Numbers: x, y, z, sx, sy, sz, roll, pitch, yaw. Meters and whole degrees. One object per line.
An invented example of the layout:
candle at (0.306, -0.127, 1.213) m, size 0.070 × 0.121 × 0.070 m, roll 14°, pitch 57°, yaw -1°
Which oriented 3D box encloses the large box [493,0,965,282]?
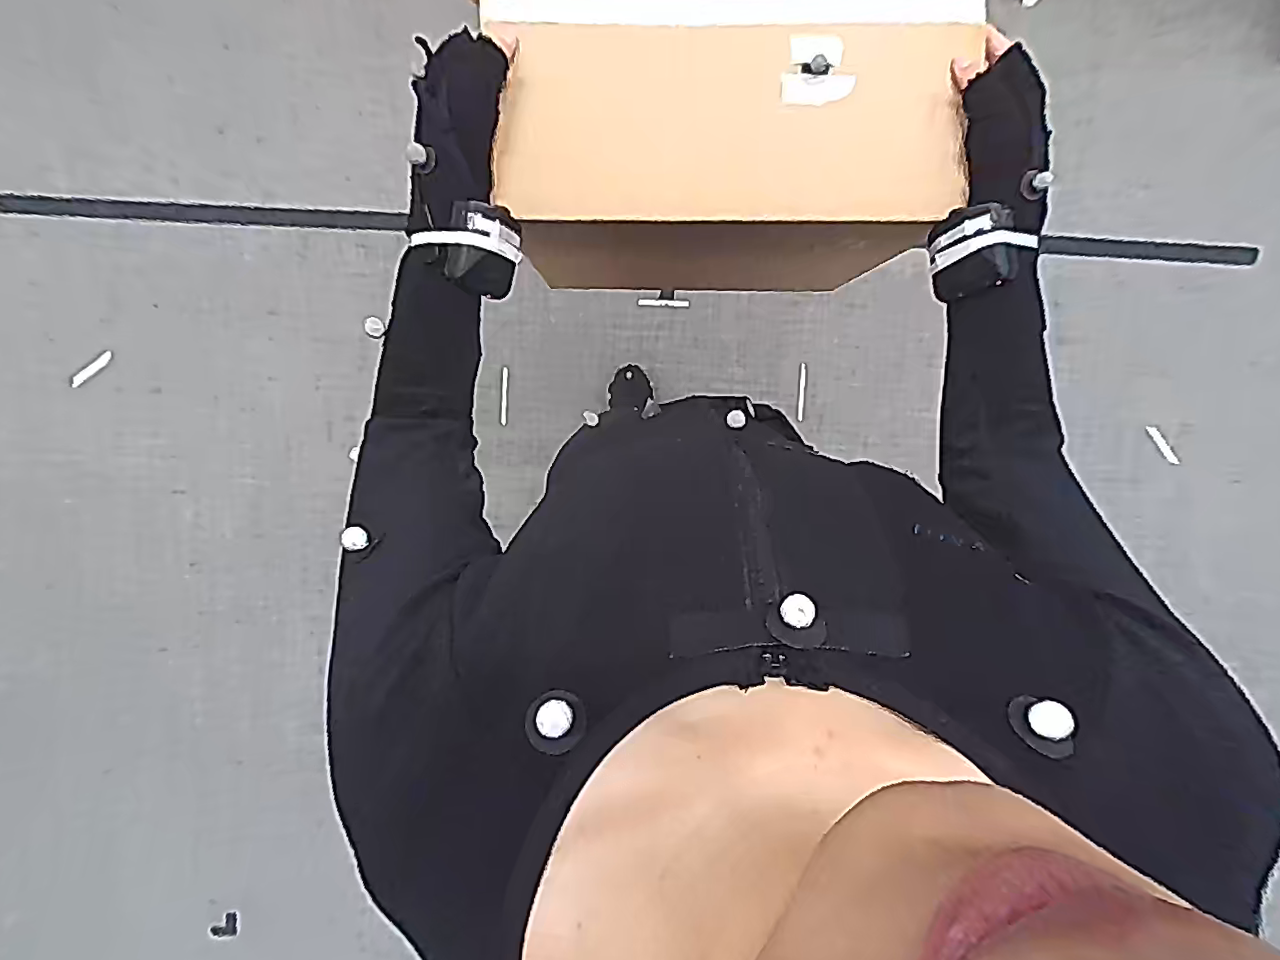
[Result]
large box at (0.070, -0.413, 0.598) m, size 0.408 × 0.320 × 0.320 m, roll 0°, pitch 100°, yaw -1°
